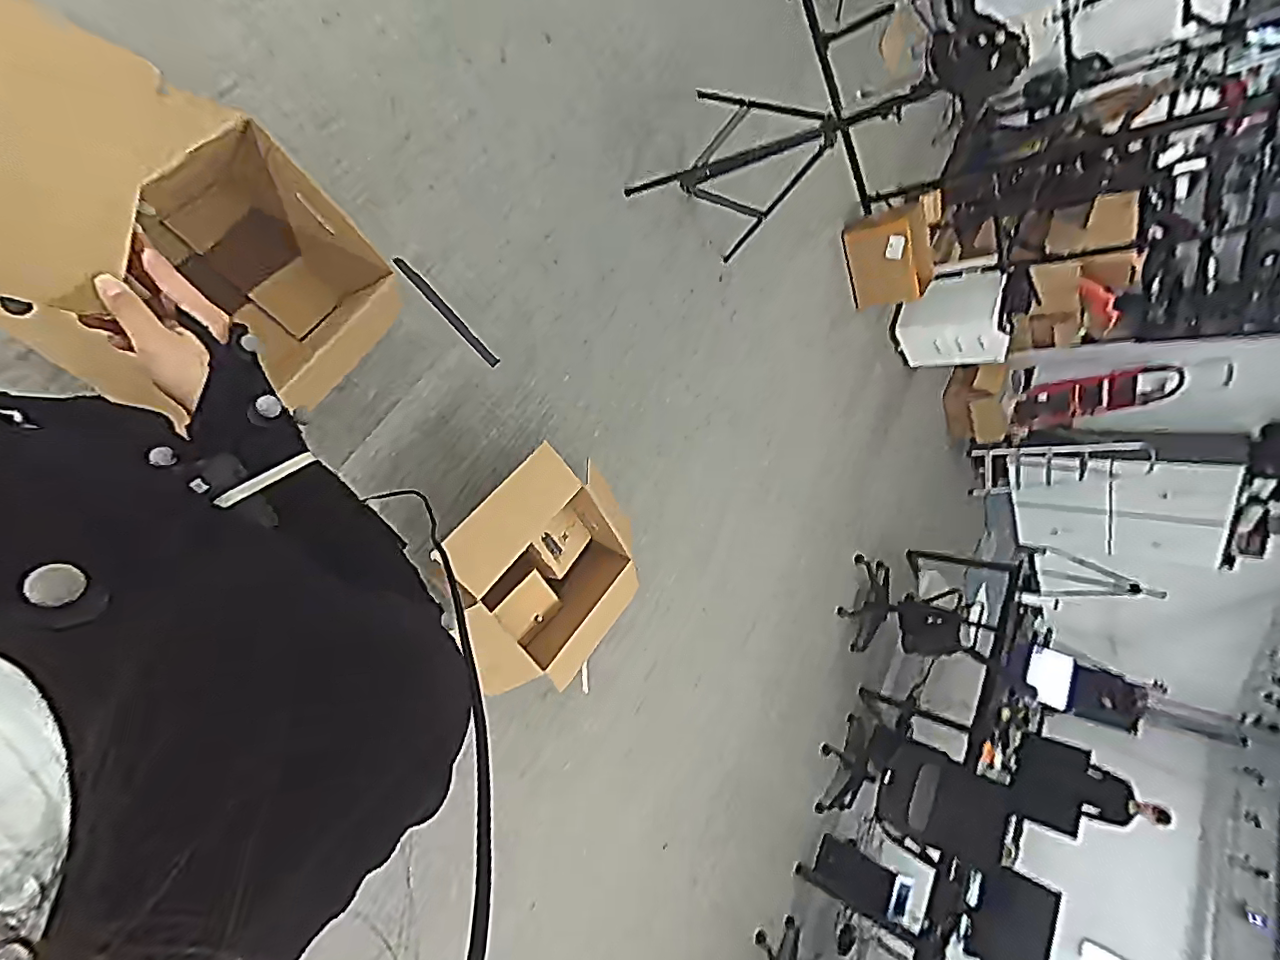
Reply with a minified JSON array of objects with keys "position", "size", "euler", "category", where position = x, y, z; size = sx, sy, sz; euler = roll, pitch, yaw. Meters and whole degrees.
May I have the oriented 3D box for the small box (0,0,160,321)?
[{"position":[-0.442,-0.223,0.338],"size":[0.179,0.176,0.168],"euler":[10,106,-50],"category":"small box"}]
